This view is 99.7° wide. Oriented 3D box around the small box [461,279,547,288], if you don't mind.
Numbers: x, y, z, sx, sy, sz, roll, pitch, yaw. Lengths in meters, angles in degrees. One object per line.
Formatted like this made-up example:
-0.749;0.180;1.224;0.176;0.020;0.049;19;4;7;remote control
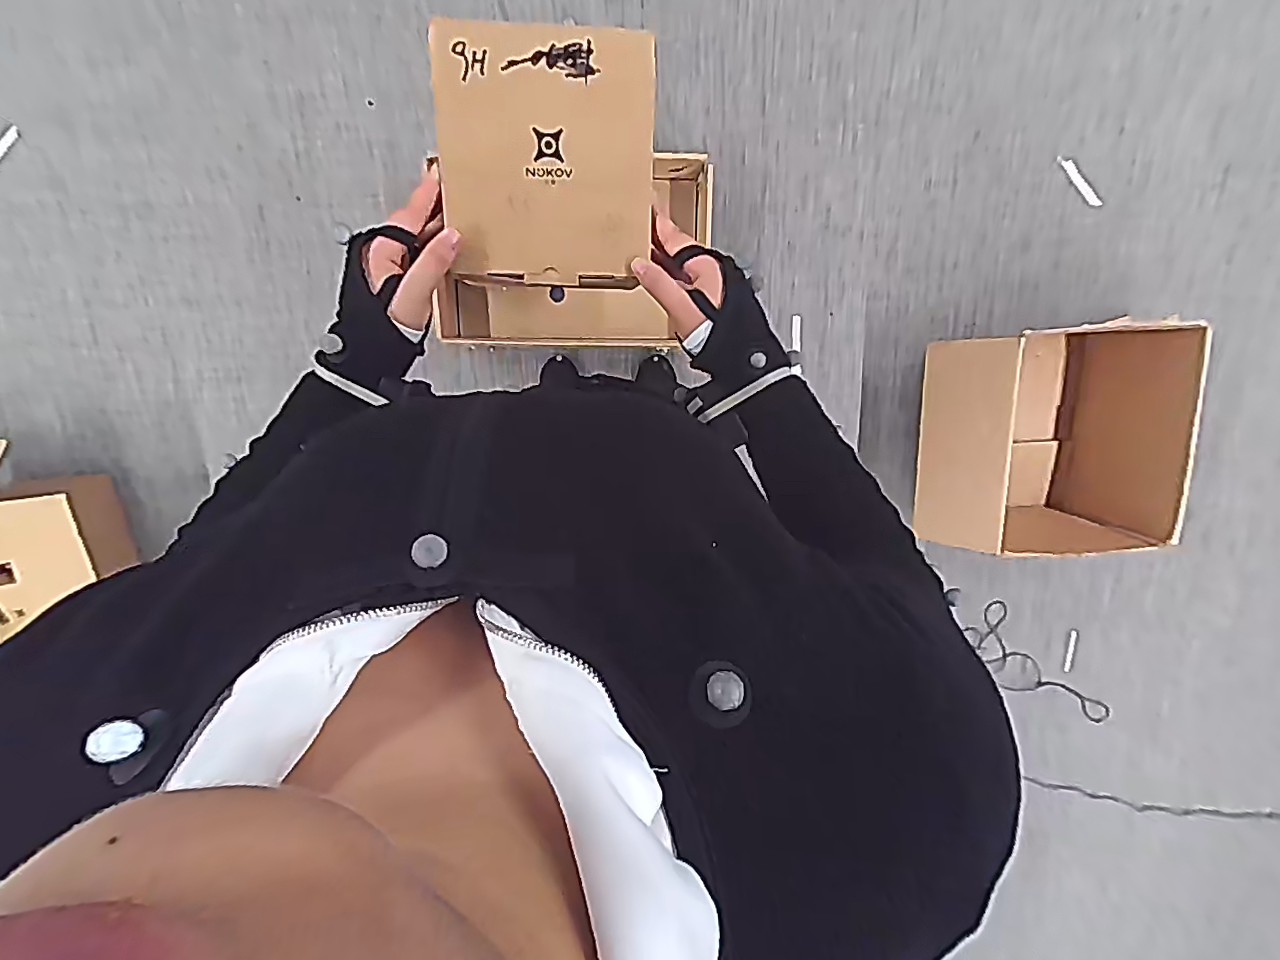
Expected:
-0.307;-0.530;1.235;0.179;0.176;0.168;-1;106;-3;small box

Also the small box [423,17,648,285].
-0.083;-0.273;0.494;0.168;0.176;0.179;-1;108;-5;small box
